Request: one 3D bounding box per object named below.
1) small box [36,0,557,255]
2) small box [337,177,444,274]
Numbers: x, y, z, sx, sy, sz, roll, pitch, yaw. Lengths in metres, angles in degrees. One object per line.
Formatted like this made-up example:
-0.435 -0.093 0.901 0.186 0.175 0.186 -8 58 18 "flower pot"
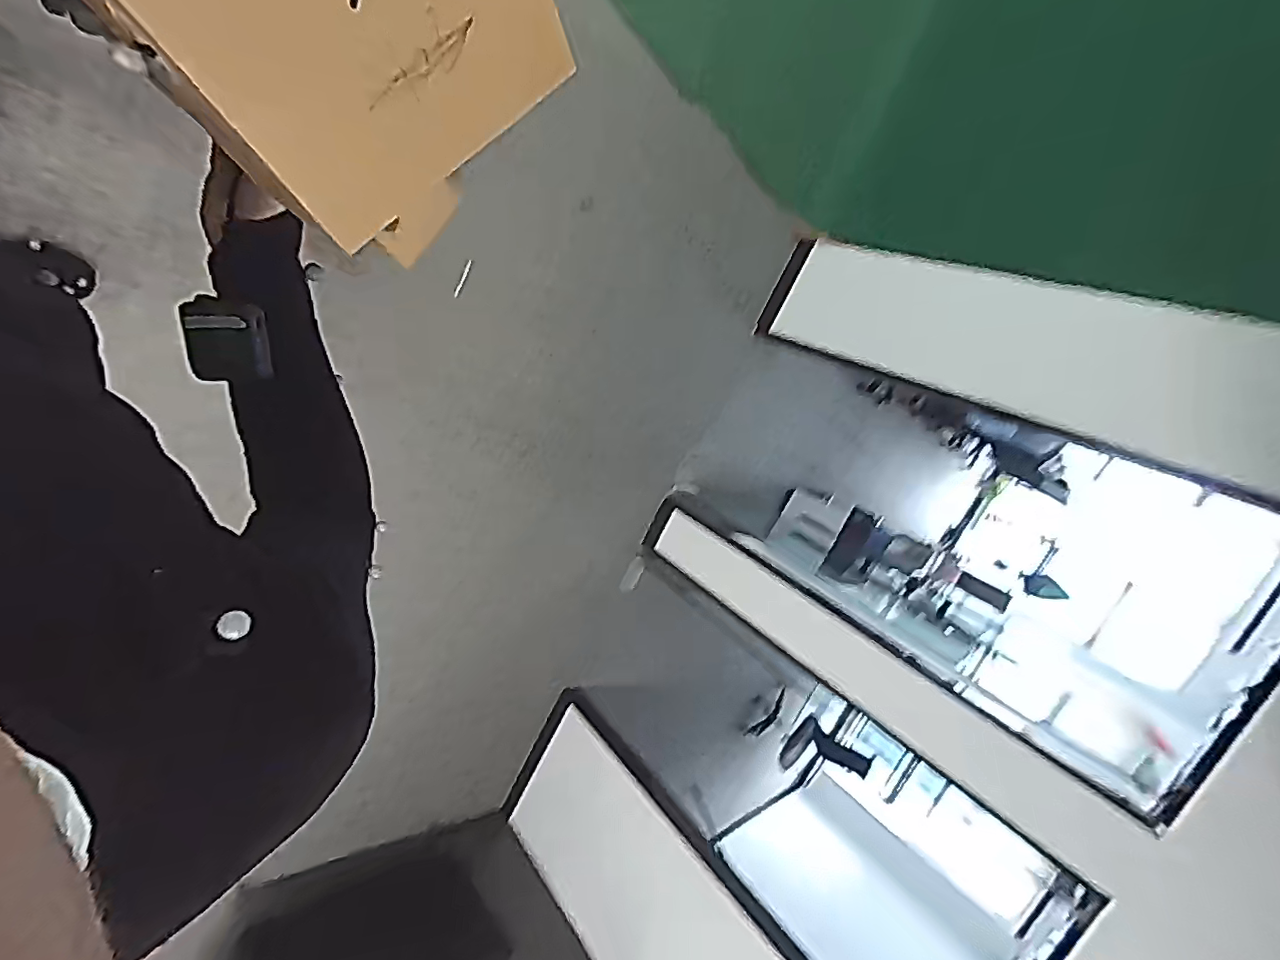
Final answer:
-0.175 -0.240 0.236 0.168 0.176 0.179 -45 147 -11 "small box"
-0.507 -0.517 0.997 0.179 0.176 0.168 -53 143 -5 "small box"
